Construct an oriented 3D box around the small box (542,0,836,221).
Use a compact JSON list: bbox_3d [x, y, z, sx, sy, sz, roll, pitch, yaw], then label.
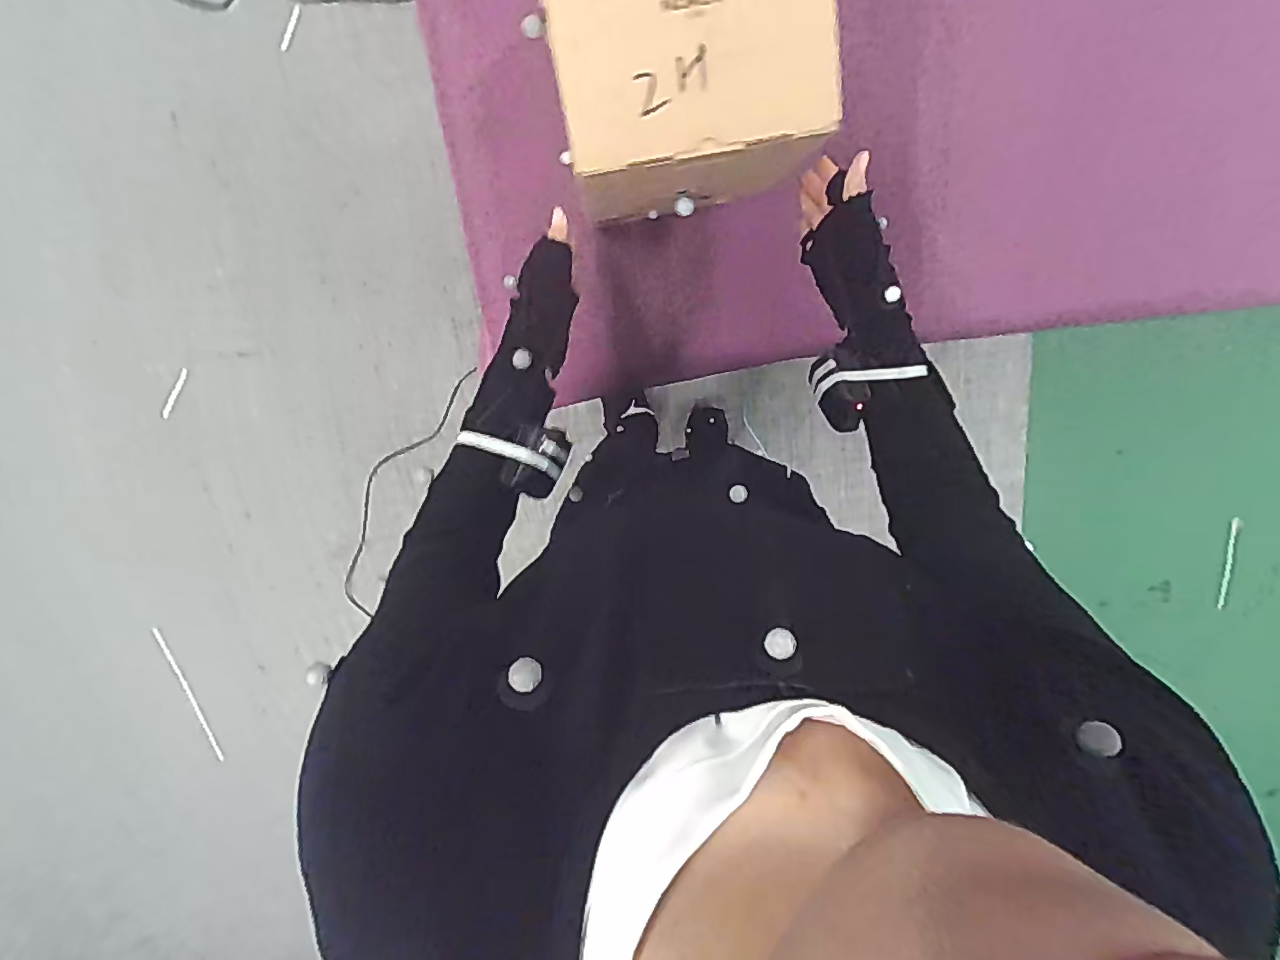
[{"bbox_3d":[0.021,-0.303,0.382,0.168,0.176,0.179,-11,108,0],"label":"small box"}]
